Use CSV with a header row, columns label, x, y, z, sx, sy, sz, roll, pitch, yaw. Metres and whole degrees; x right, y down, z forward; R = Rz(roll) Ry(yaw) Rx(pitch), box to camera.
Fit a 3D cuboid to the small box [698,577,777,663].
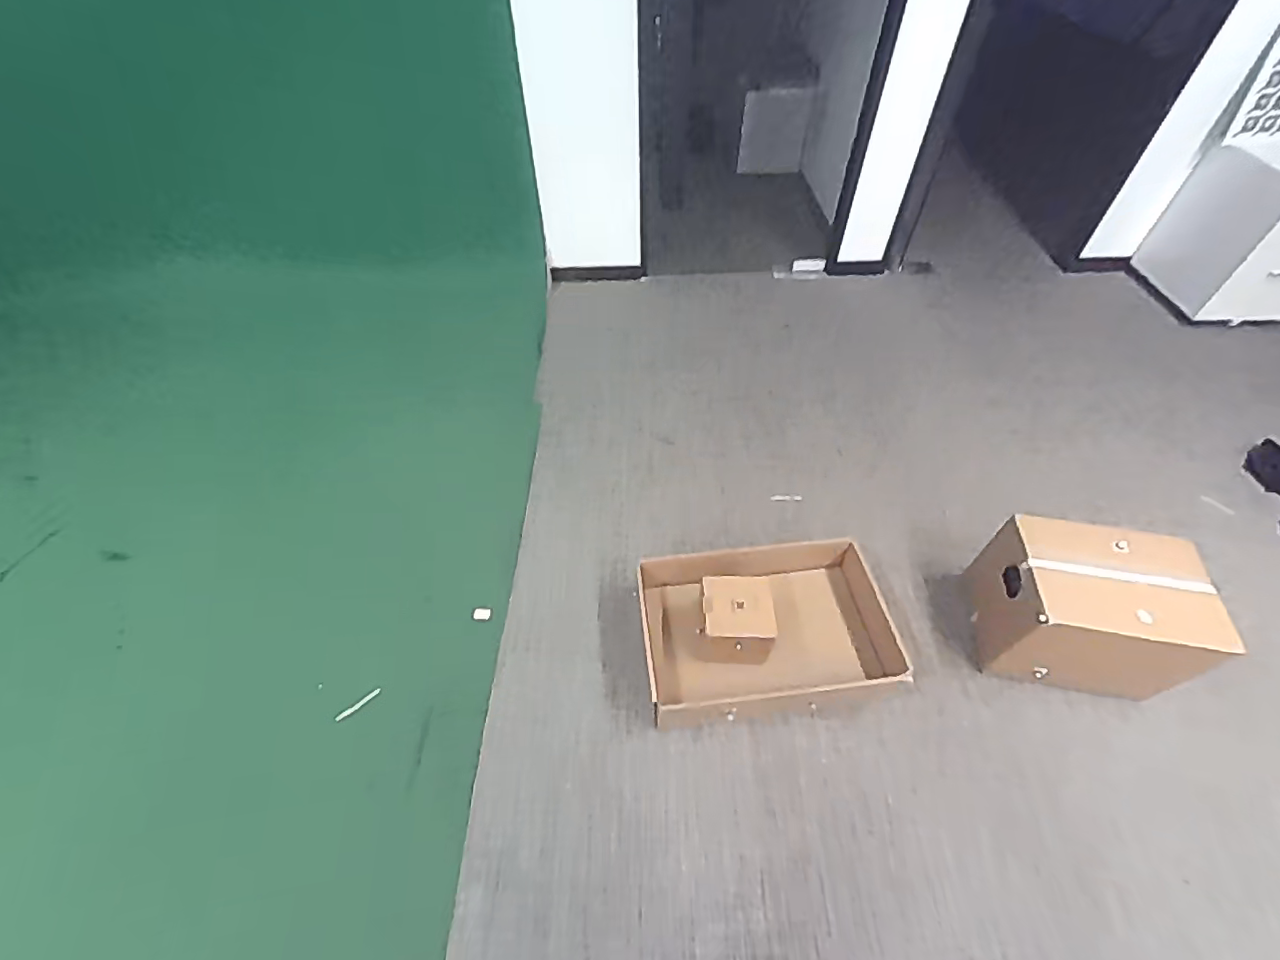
label,x,y,z,sx,sy,sz,roll,pitch,yaw
small box,0.245,0.369,1.417,0.179,0.176,0.168,1,50,-1
